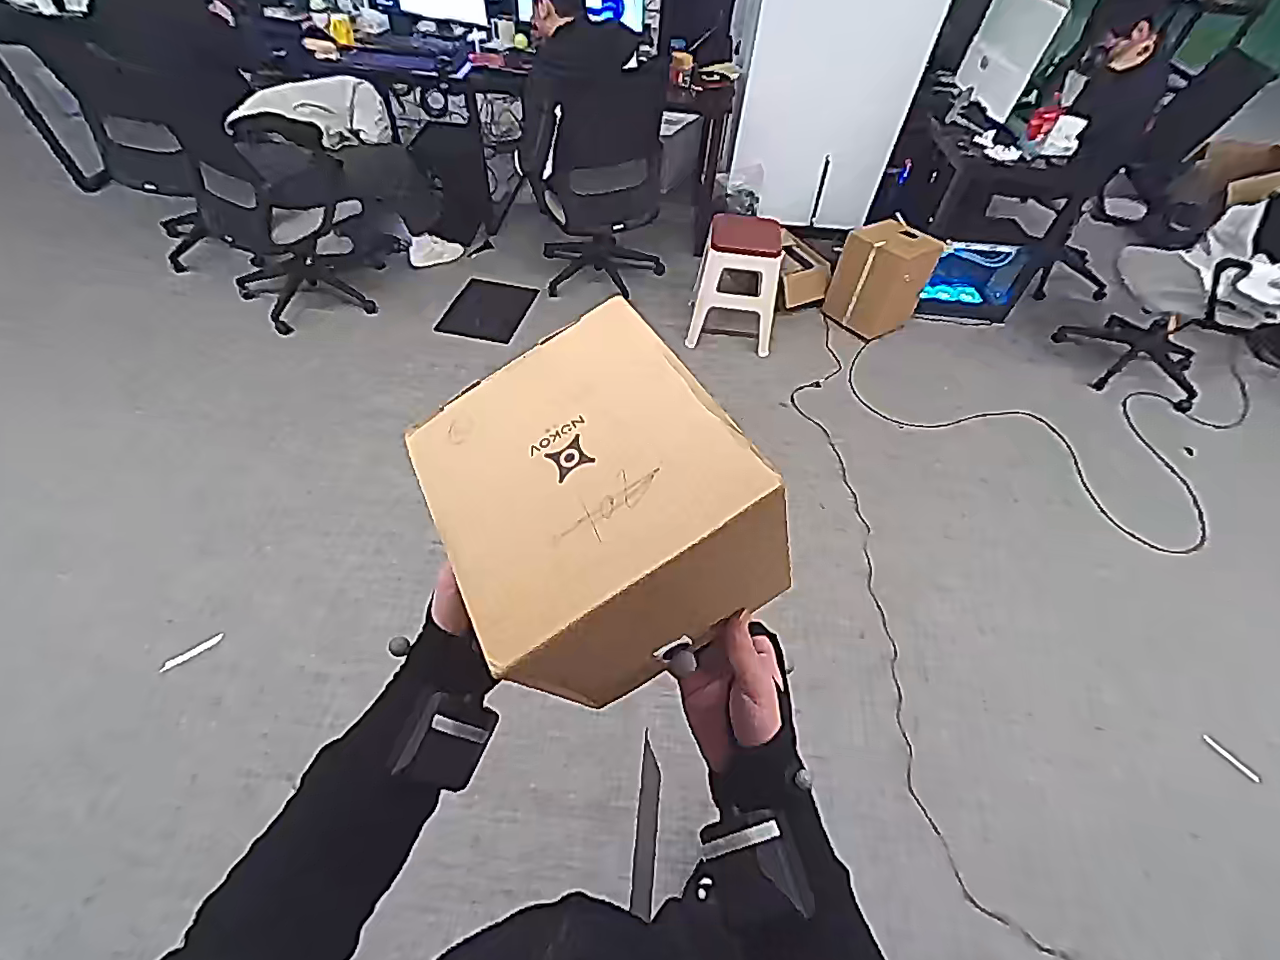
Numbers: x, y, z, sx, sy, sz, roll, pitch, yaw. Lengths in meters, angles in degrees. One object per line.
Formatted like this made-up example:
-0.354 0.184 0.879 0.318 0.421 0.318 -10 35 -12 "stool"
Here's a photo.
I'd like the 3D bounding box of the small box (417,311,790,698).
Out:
-0.015 0.028 0.377 0.168 0.176 0.179 -35 60 -2 "small box"
